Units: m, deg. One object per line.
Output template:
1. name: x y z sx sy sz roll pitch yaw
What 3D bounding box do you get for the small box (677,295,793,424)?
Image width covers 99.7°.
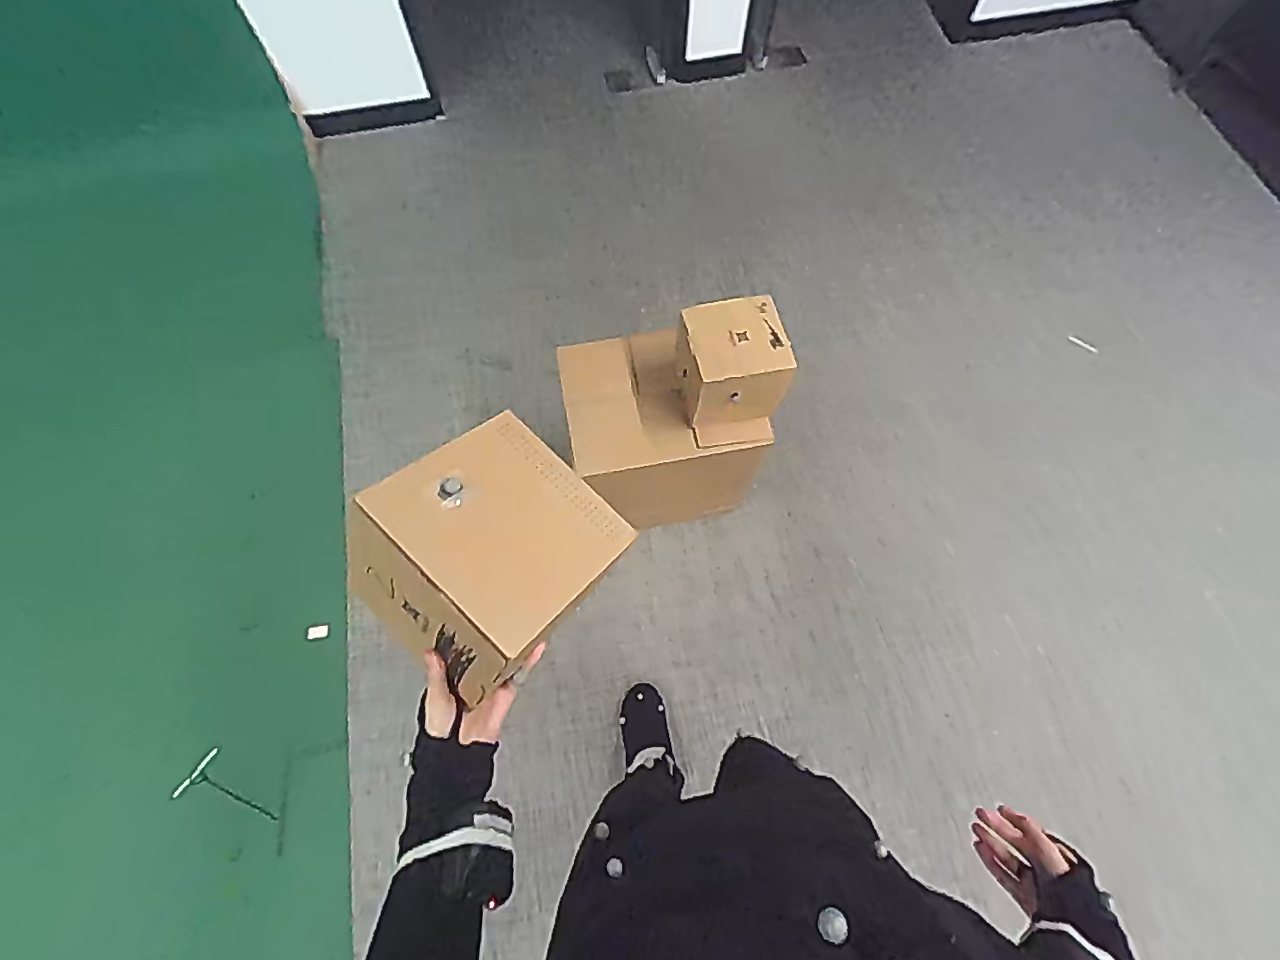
1. small box: 0.171 -0.223 1.040 0.179 0.176 0.168 -11 69 -4
